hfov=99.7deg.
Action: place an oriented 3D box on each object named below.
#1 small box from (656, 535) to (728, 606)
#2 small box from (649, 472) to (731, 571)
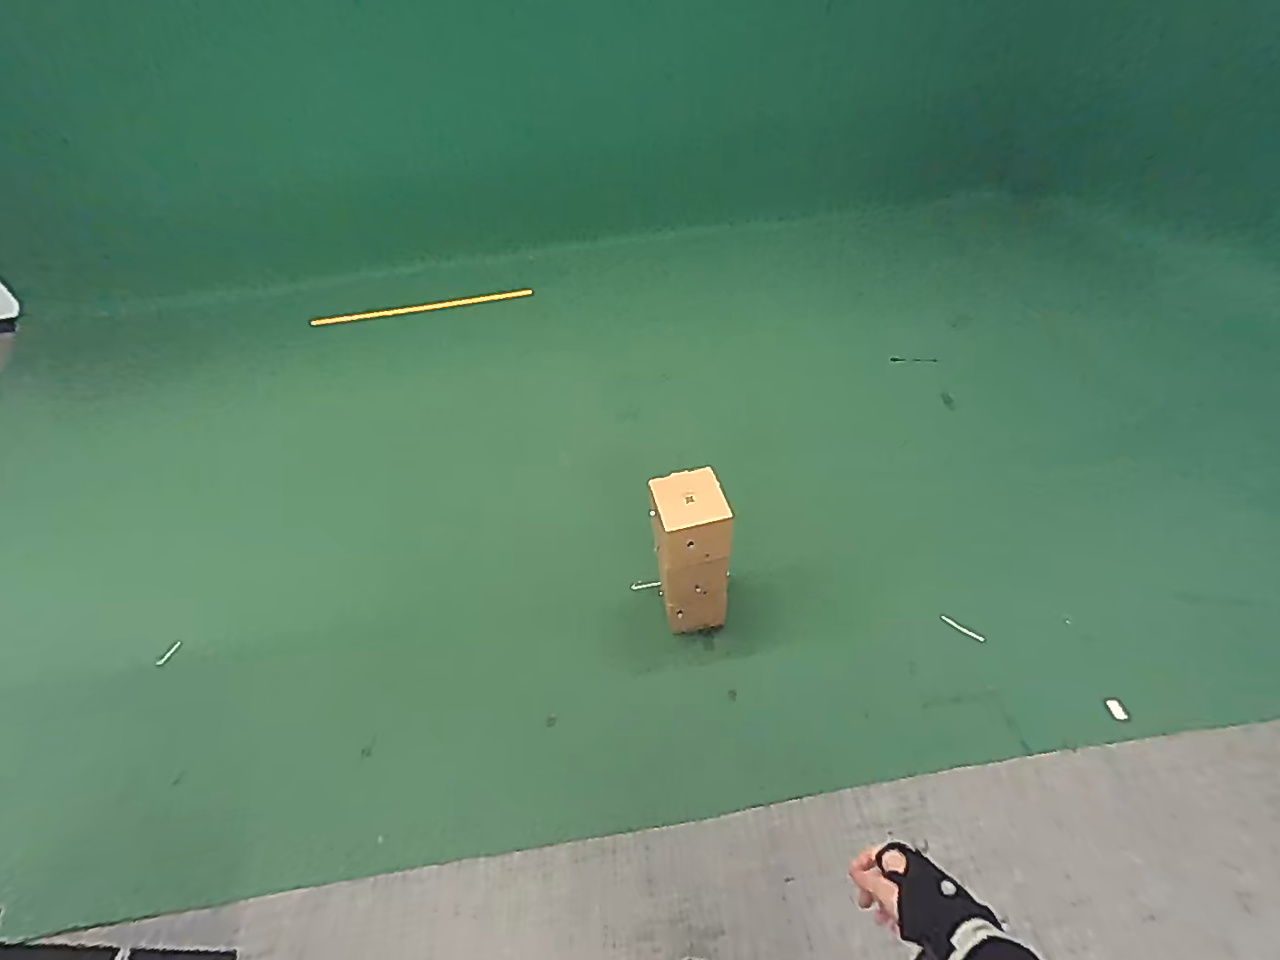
[{"bbox_3d":[0.139,0.221,1.498,0.168,0.176,0.179,-11,47,-4],"label":"small box"},{"bbox_3d":[0.127,0.113,1.378,0.168,0.176,0.179,-13,46,-6],"label":"small box"}]
